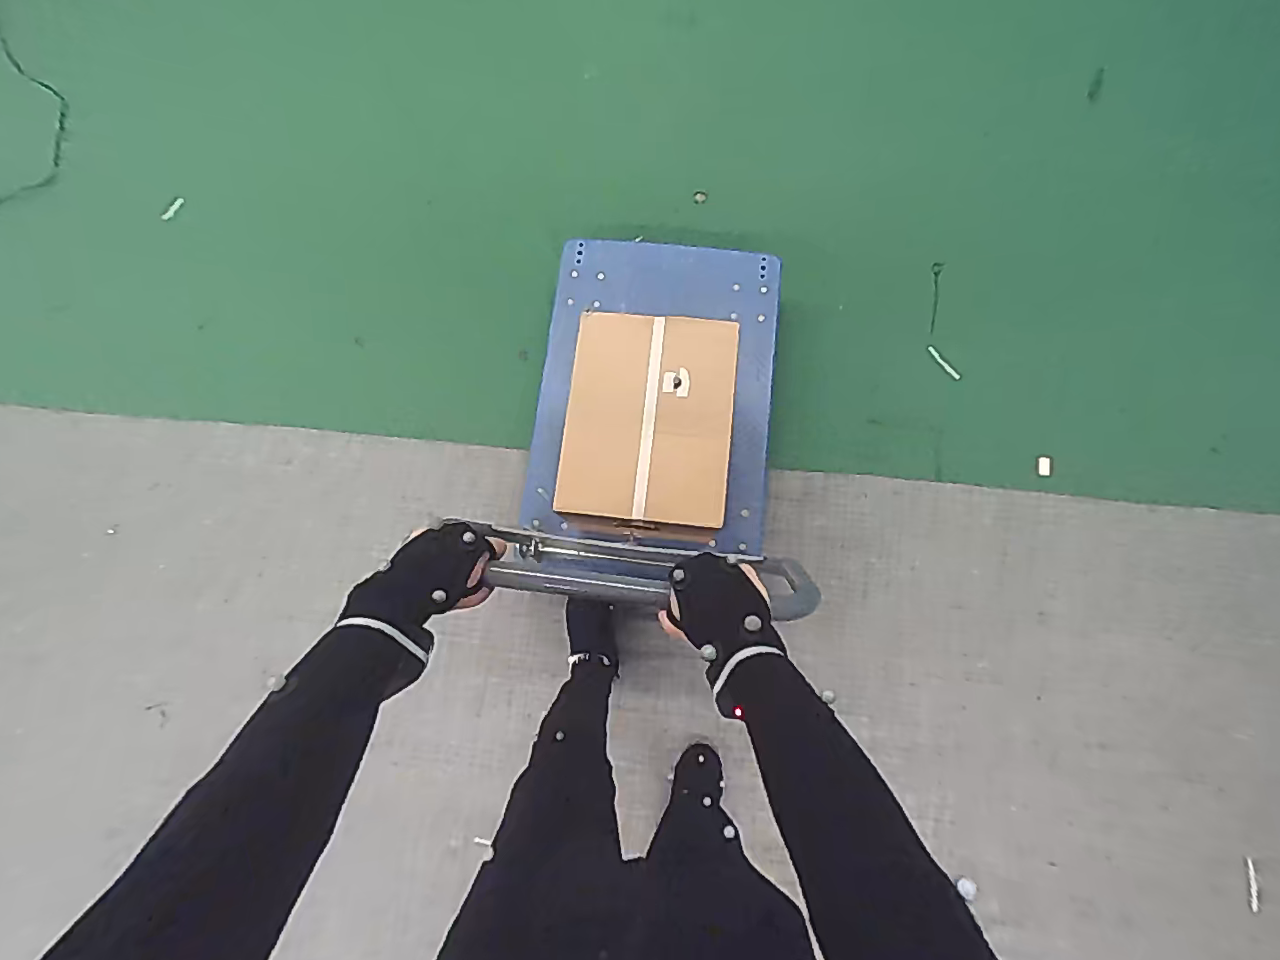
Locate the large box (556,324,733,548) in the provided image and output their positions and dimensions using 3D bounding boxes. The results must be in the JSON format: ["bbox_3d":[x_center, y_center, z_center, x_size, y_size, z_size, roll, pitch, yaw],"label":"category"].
[{"bbox_3d":[0.022,-0.075,1.179,0.320,0.320,0.408,6,78,4],"label":"large box"}]
